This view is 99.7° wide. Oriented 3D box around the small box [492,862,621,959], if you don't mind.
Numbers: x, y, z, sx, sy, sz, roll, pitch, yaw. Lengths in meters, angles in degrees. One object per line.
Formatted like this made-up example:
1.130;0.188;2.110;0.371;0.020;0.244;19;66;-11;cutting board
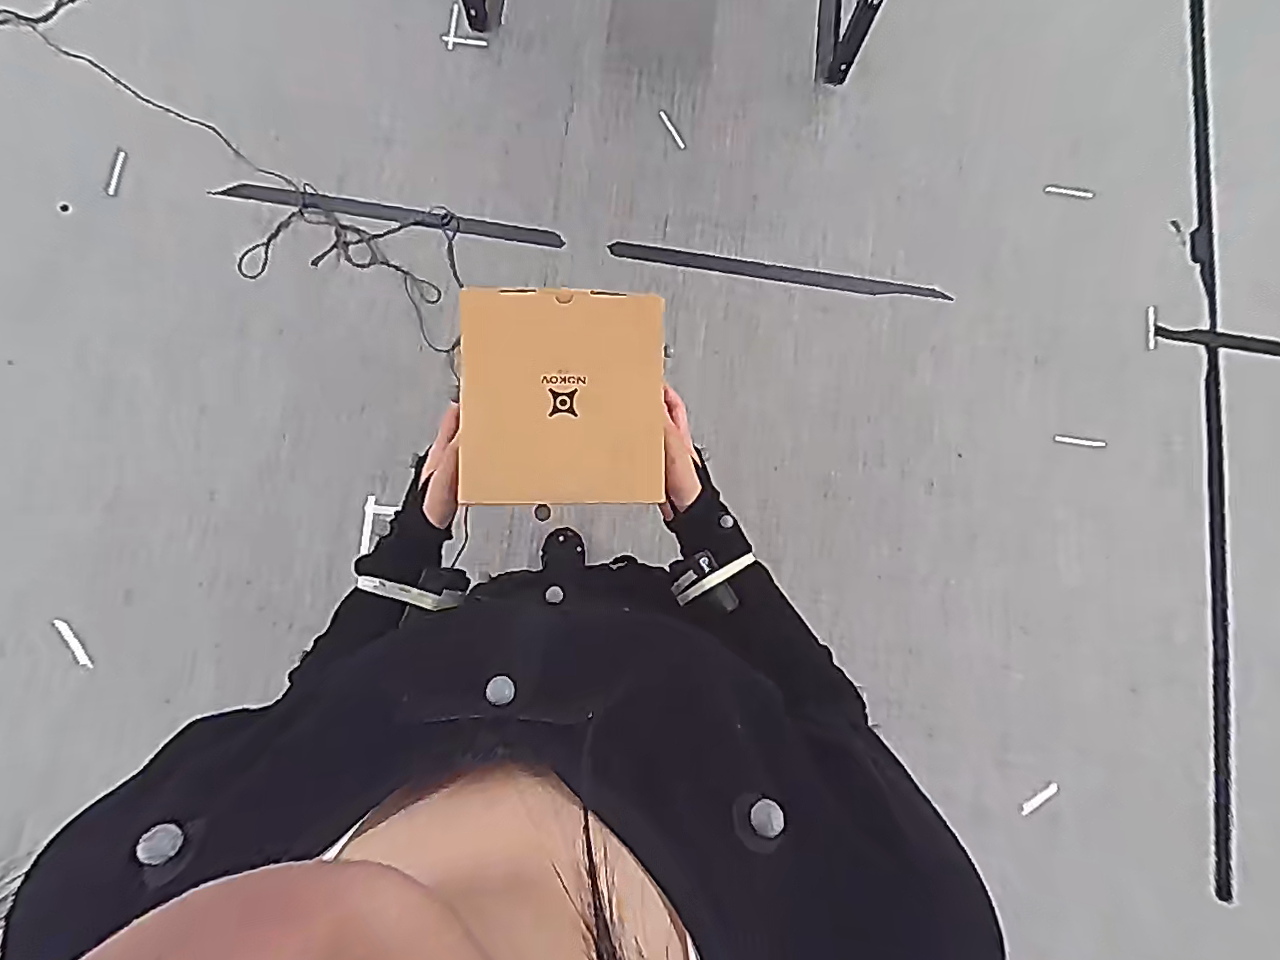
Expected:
-0.116;0.683;0.758;0.168;0.176;0.179;6;83;-2;small box

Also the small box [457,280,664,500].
-0.069;-0.069;0.513;0.168;0.176;0.179;0;87;-6;small box
